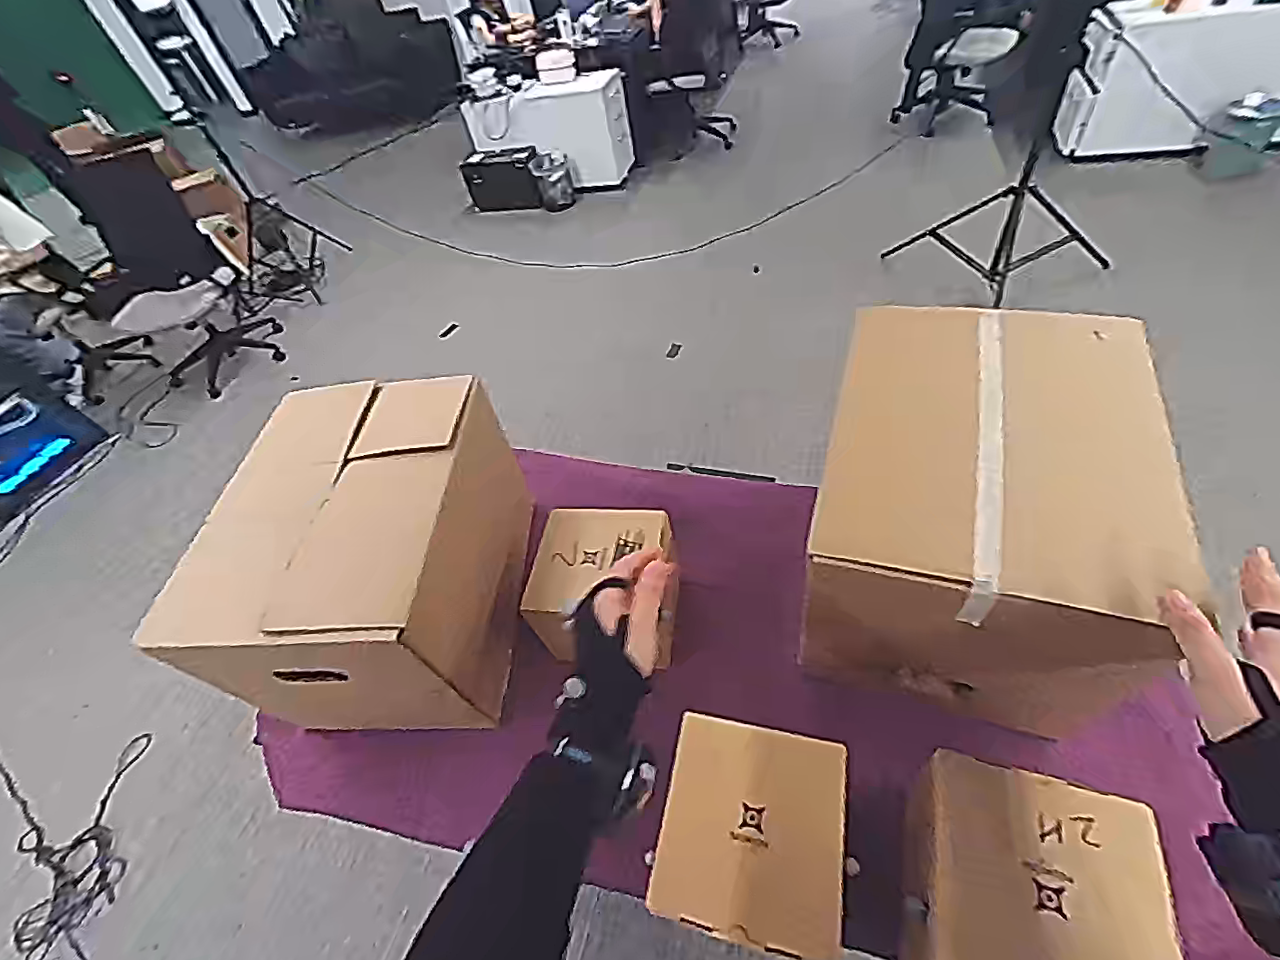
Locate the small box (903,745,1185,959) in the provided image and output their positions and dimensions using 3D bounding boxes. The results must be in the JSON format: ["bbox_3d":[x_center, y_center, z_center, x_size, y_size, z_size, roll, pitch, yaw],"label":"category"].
[{"bbox_3d":[0.346,0.380,0.494,0.168,0.176,0.179,9,51,20],"label":"small box"}]
